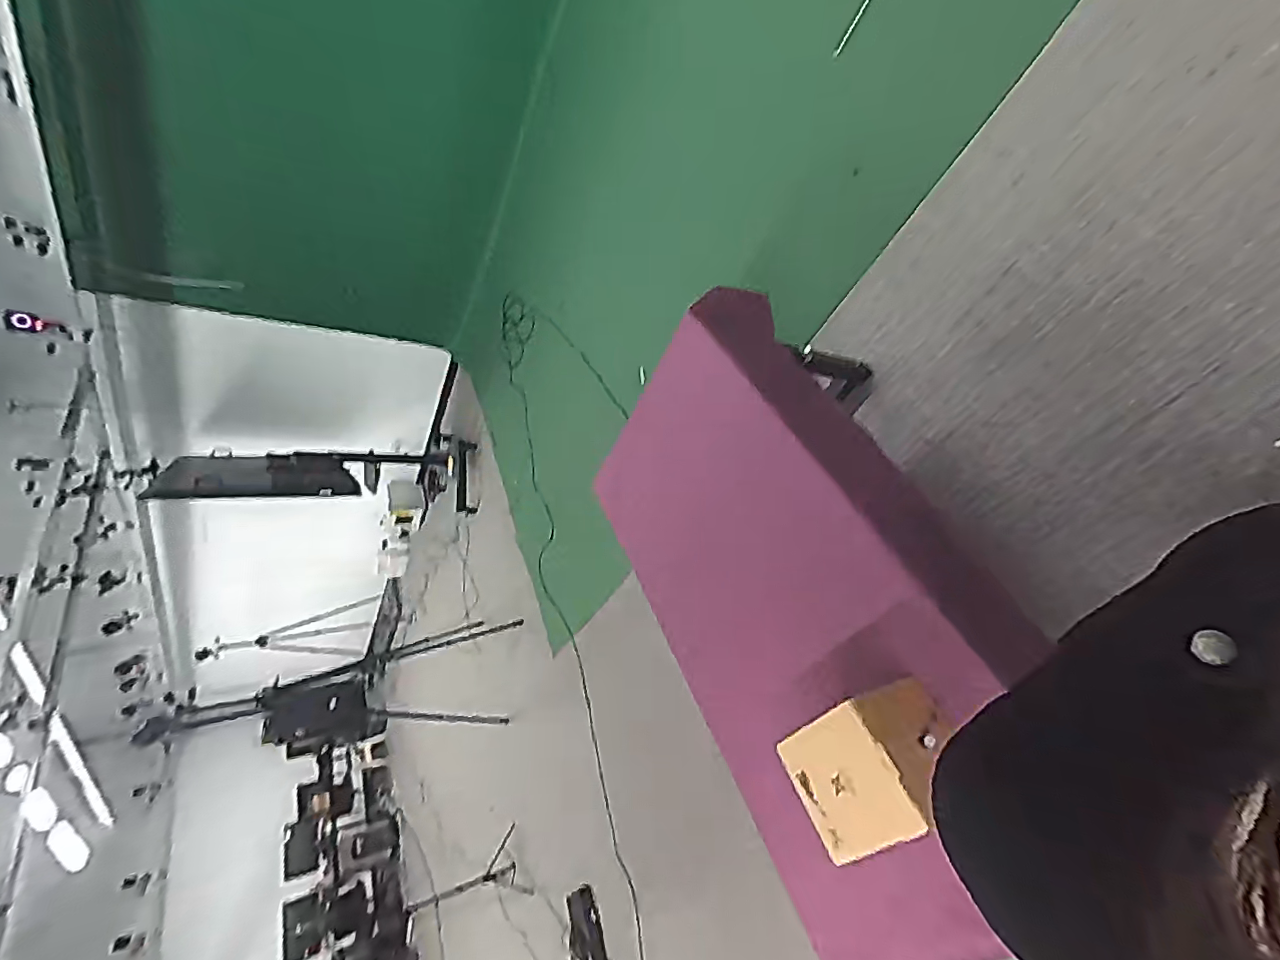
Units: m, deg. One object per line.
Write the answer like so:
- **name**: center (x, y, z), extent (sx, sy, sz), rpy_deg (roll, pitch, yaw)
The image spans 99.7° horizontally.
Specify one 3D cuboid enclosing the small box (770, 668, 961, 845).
- **small box**: center (0.338, 0.402, 0.804), extent (0.179, 0.176, 0.168), rpy_deg (-55, 48, 37)
